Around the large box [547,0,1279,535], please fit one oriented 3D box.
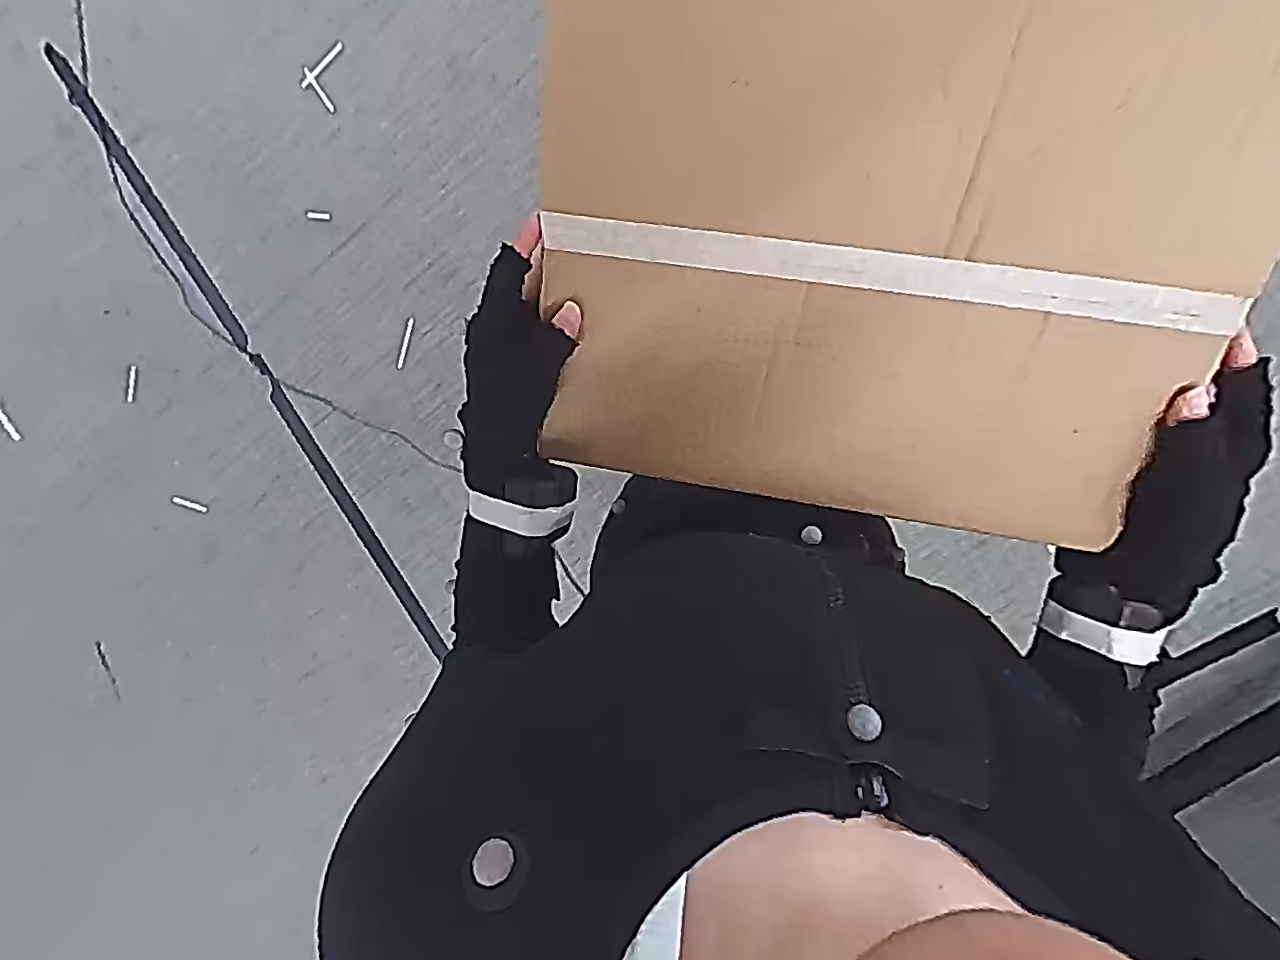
[{"bbox_3d":[0.158,-0.187,0.465,0.408,0.320,0.320,10,116,5],"label":"large box"}]
